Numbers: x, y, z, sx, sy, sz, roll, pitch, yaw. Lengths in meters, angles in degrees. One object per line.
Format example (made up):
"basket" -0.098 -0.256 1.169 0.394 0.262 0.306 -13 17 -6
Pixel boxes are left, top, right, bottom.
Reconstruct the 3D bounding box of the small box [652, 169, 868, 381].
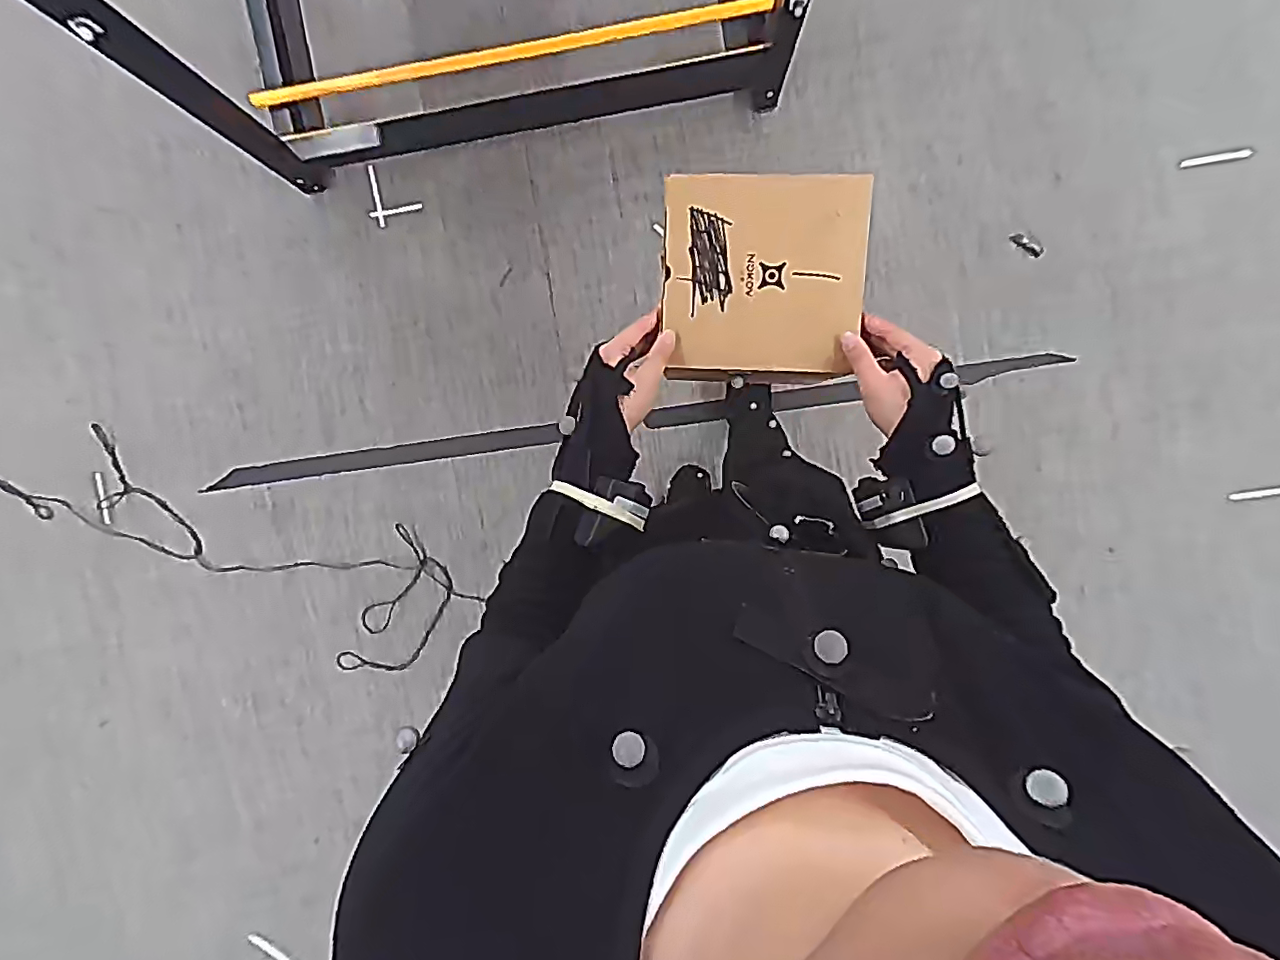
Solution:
"small box" 0.107 -0.190 0.547 0.179 0.176 0.168 3 97 4
